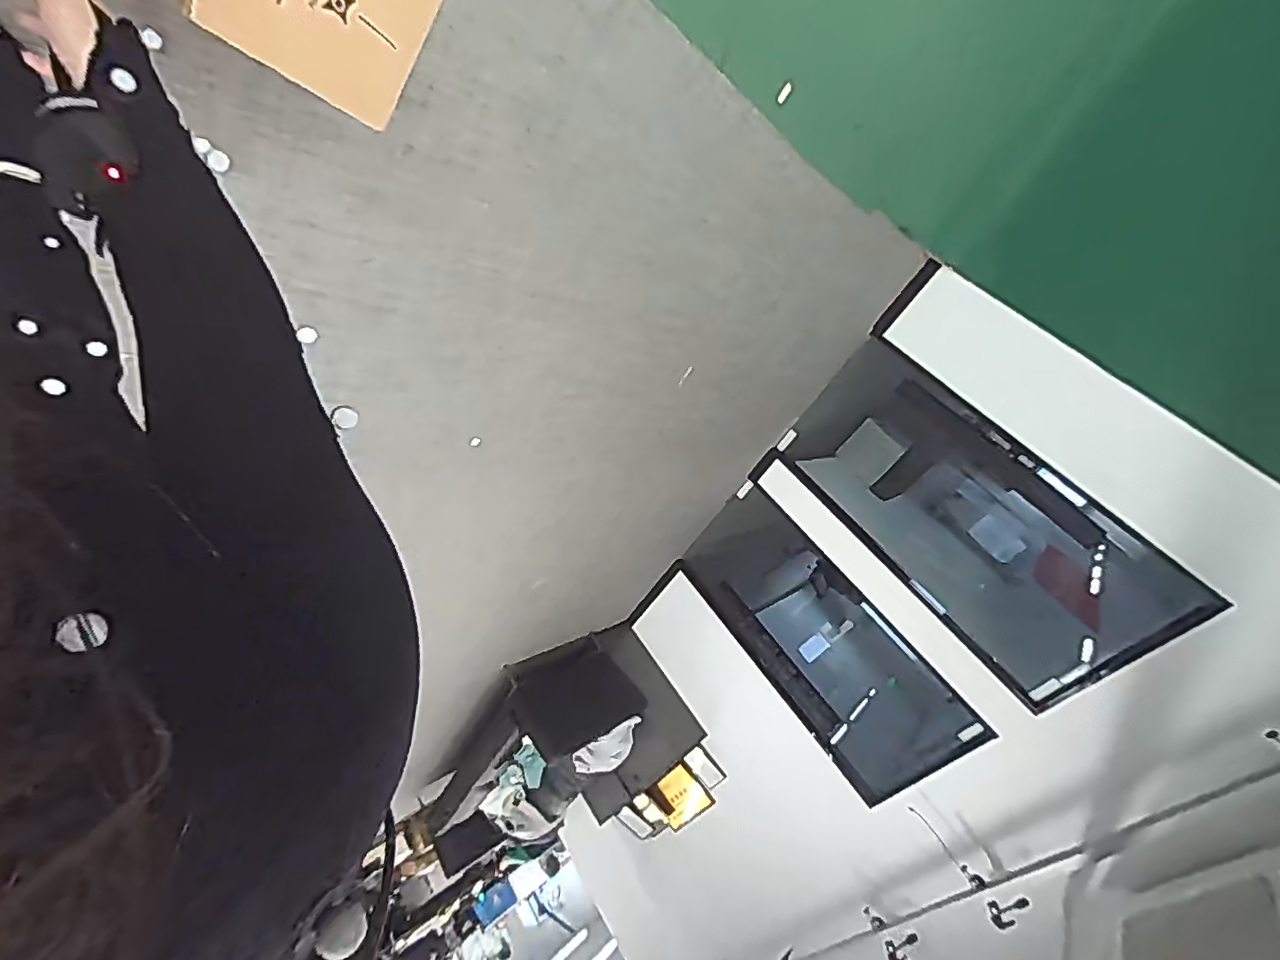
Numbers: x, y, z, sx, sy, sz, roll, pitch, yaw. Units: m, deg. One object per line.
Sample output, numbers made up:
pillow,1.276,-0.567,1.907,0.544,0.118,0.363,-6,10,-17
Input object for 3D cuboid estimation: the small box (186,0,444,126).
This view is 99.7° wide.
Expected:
small box,-0.318,-0.493,0.512,0.168,0.176,0.179,-49,154,22
